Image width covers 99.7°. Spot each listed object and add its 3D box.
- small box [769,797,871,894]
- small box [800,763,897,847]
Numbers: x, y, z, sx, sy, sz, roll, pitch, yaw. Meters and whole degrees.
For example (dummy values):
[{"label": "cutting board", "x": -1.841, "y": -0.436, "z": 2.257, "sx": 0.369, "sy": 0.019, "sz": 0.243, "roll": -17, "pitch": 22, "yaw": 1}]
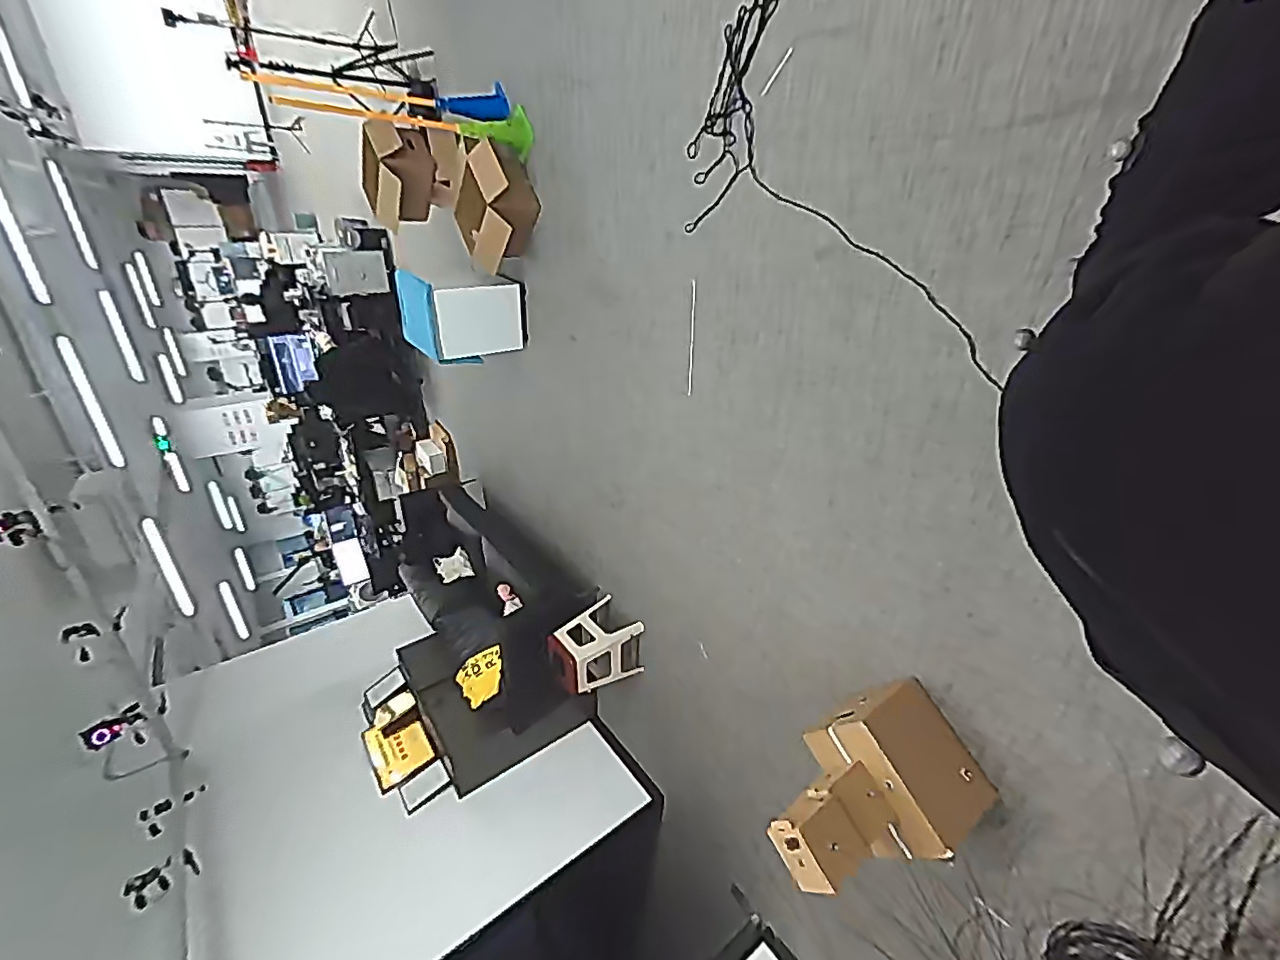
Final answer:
[{"label": "small box", "x": 0.514, "y": 1.036, "z": 1.548, "sx": 0.179, "sy": 0.176, "sz": 0.168, "roll": 58, "pitch": 145, "yaw": 19}, {"label": "small box", "x": 0.636, "y": 0.995, "z": 1.652, "sx": 0.179, "sy": 0.176, "sz": 0.168, "roll": 57, "pitch": 145, "yaw": 23}]
